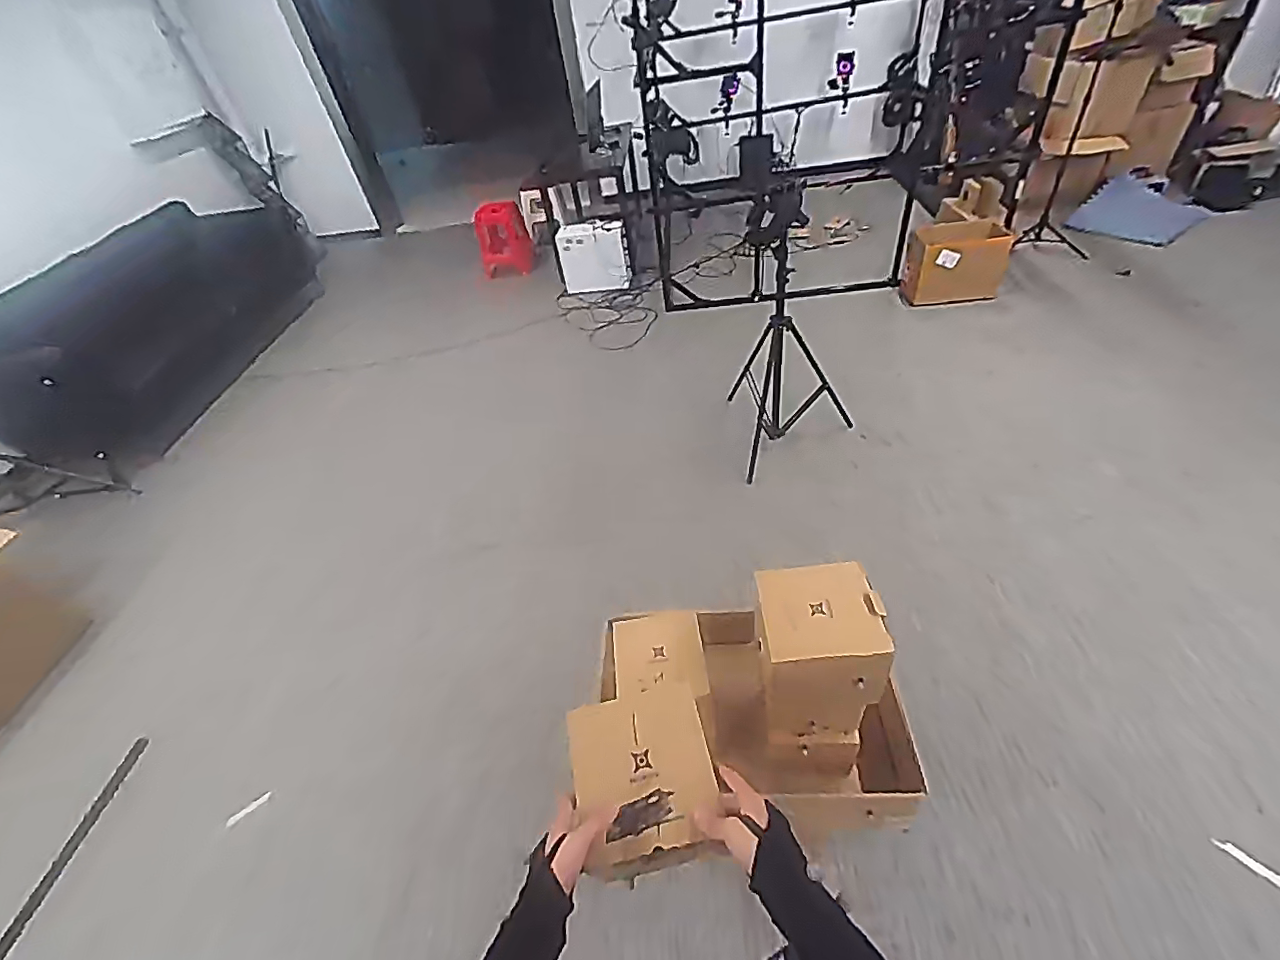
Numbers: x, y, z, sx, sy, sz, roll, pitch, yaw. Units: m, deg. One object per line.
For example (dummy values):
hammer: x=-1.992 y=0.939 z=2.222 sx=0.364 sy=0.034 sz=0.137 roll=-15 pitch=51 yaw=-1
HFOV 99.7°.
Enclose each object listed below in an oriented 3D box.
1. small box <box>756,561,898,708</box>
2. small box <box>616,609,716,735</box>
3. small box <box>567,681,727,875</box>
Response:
small box: x=0.288 y=0.252 z=0.876 sx=0.179 sy=0.176 sz=0.168 roll=-6 pitch=42 yaw=5
small box: x=0.049 y=0.376 z=1.039 sx=0.168 sy=0.176 sz=0.179 roll=-10 pitch=44 yaw=3
small box: x=0.010 y=0.389 z=0.698 sx=0.168 sy=0.176 sz=0.179 roll=-12 pitch=49 yaw=-3
